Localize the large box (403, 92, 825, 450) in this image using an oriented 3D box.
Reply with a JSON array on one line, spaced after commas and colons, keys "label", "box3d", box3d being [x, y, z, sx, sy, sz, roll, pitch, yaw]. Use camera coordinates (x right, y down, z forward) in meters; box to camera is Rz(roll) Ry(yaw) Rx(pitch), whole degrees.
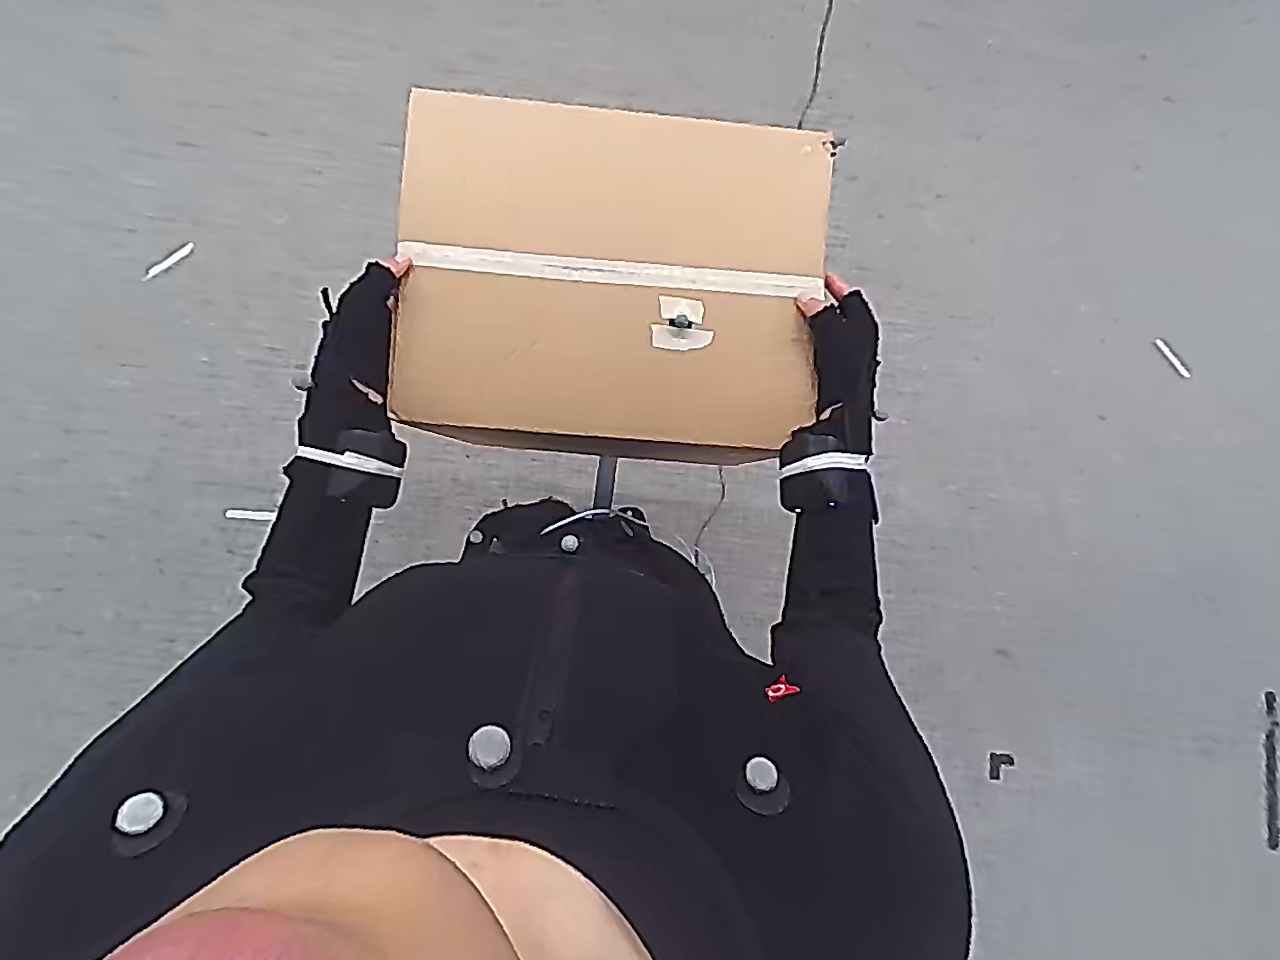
[{"label": "large box", "box3d": [-0.032, -0.209, 0.676, 0.408, 0.320, 0.320, 4, 91, -3]}]
